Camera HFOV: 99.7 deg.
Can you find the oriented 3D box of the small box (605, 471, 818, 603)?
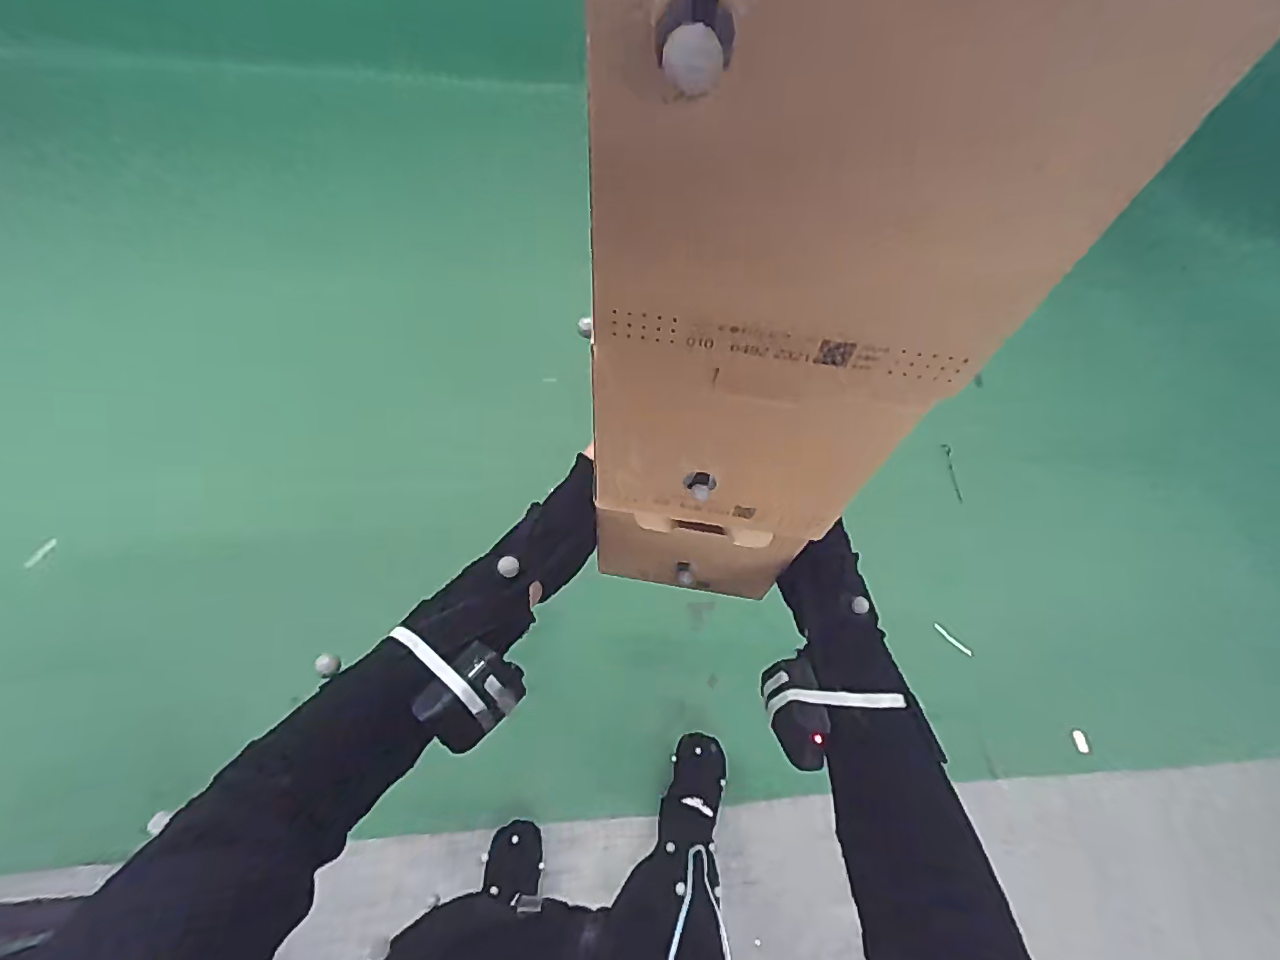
[{"bbox_3d":[0.062,-0.003,0.514,0.168,0.176,0.179,10,60,2],"label":"small box"}]

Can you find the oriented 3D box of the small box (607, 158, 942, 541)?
[{"bbox_3d":[0.069,-0.079,0.370,0.168,0.176,0.179,7,60,1],"label":"small box"}]
